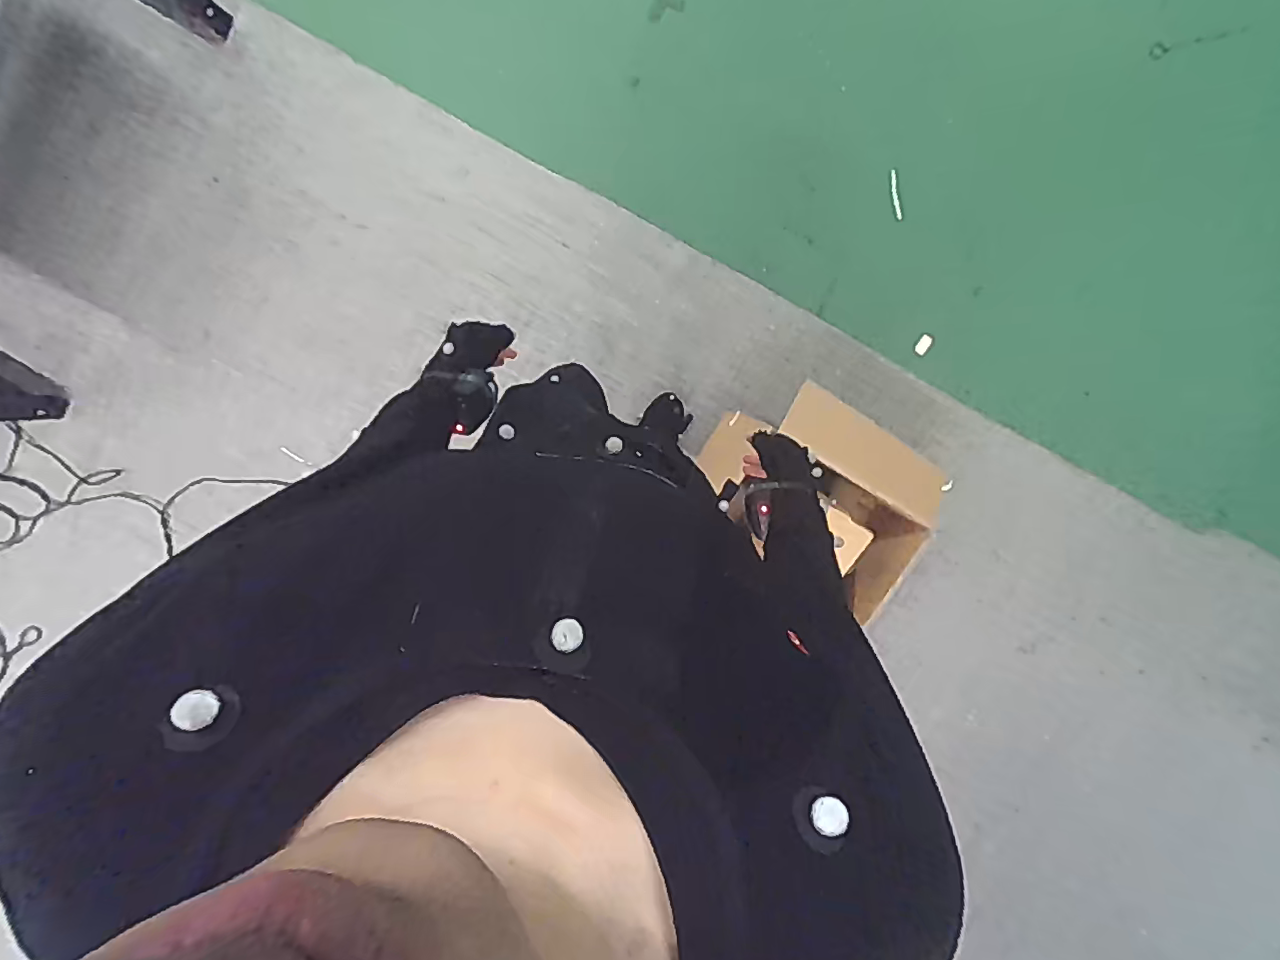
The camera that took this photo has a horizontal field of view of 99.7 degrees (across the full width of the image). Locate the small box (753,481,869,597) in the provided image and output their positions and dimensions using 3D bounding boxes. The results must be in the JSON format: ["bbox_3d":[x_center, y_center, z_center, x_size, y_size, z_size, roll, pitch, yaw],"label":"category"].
[{"bbox_3d":[0.369,0.125,1.211,0.168,0.176,0.179,33,99,-3],"label":"small box"}]
